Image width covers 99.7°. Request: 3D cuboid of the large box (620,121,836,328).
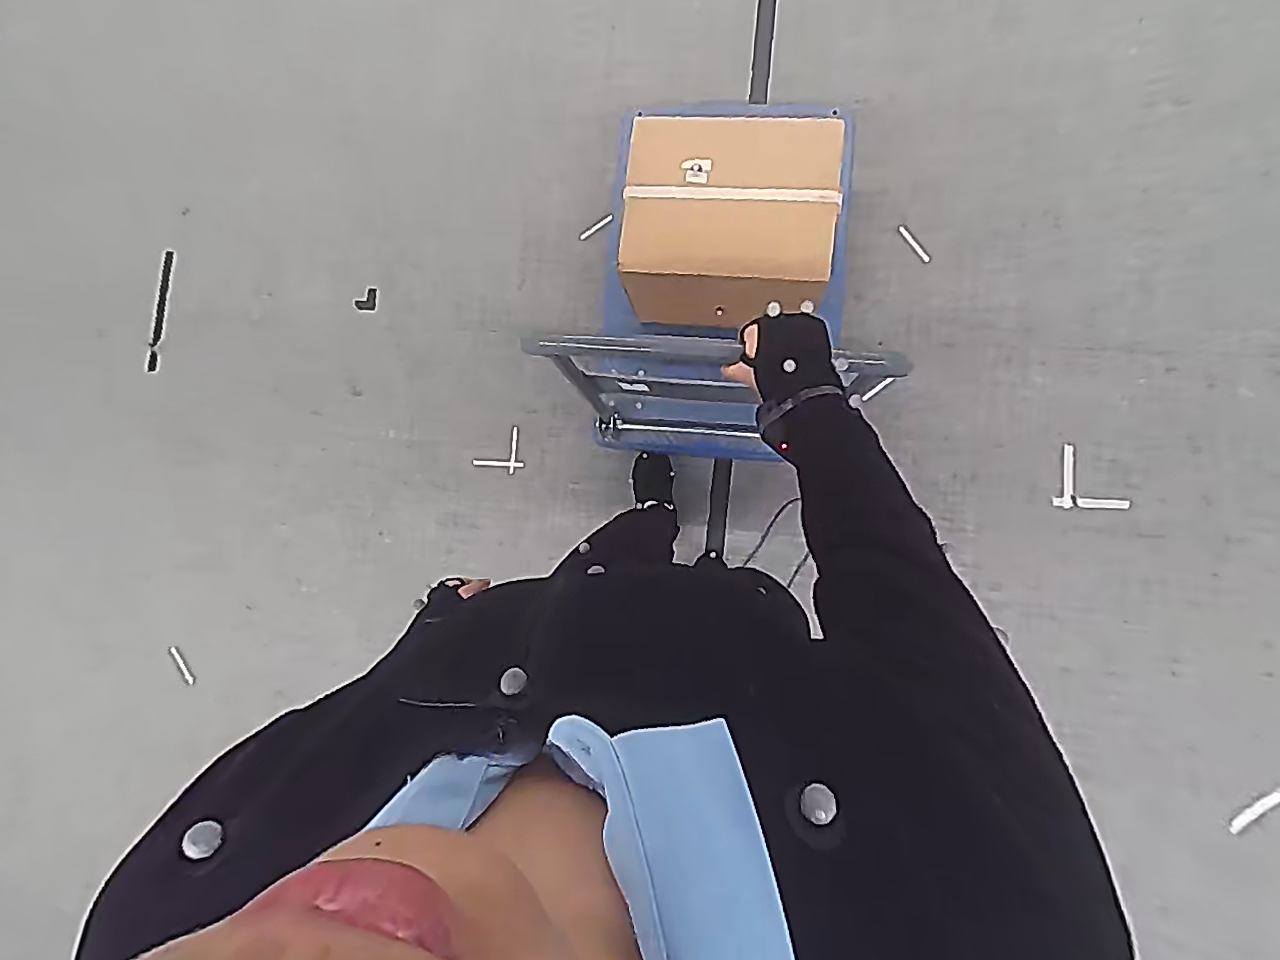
[{"bbox_3d":[0.191,-0.537,1.197,0.408,0.320,0.320,5,87,9],"label":"large box"}]
